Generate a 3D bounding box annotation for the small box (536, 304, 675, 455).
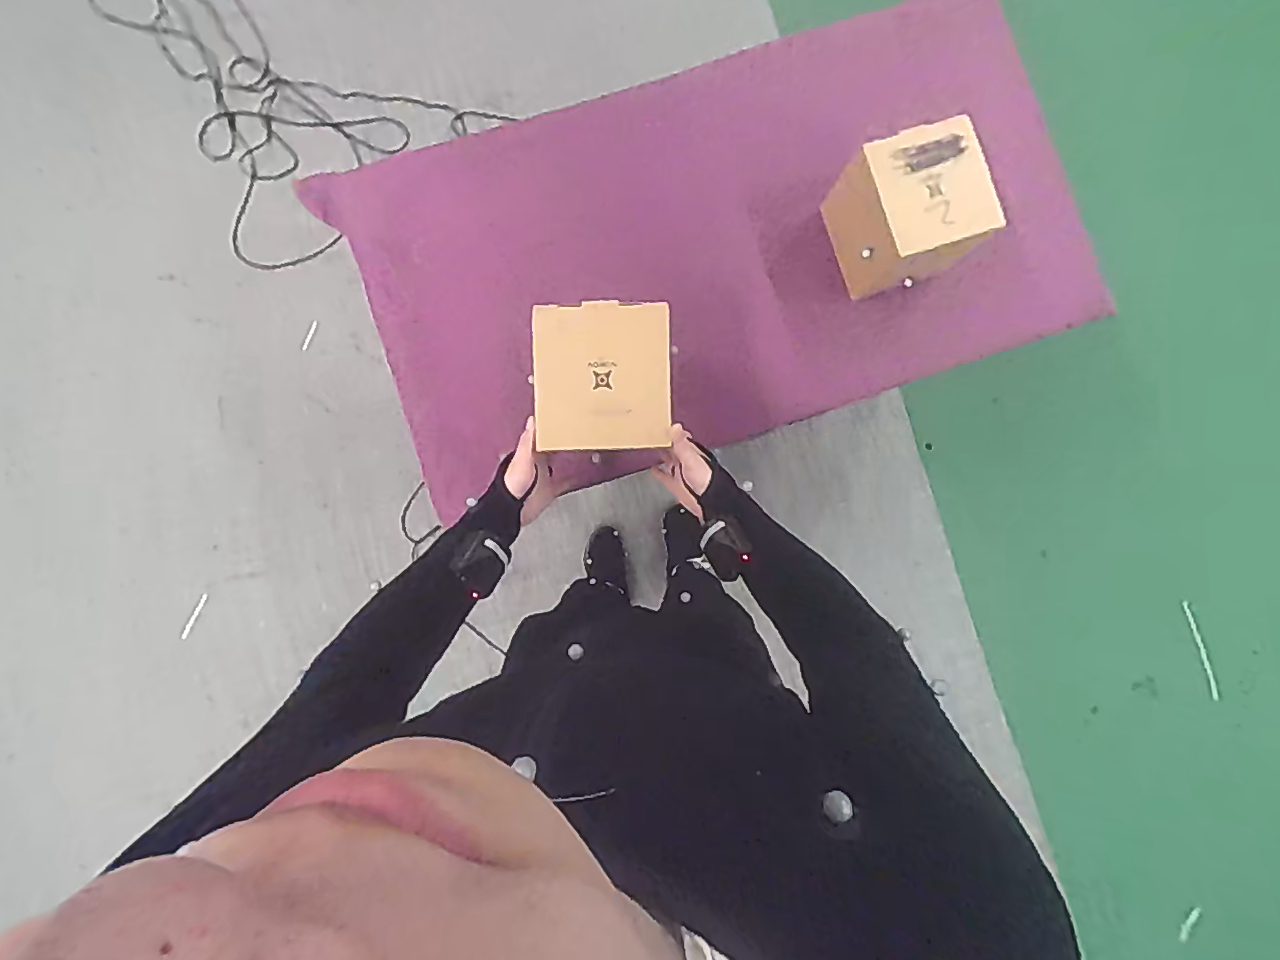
[{"bbox_3d":[-0.043,-0.121,0.714,0.168,0.176,0.179,-1,93,0],"label":"small box"}]
